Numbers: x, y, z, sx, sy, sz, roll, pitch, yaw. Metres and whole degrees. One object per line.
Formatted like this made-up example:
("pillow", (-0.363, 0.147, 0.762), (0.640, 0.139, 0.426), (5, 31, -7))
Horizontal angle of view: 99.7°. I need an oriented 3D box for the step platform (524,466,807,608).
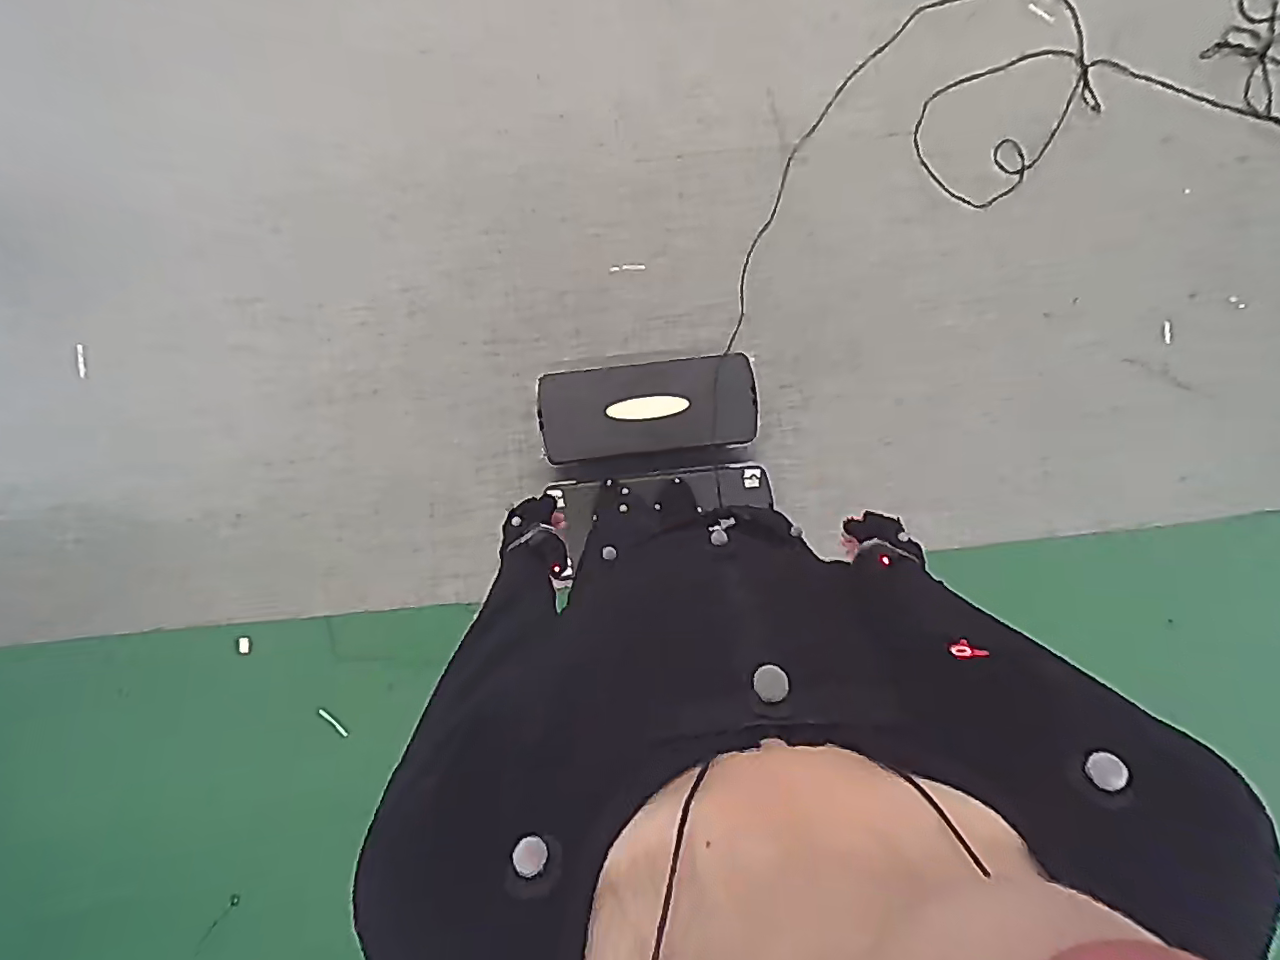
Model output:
("step platform", (0.061, 0.140, 1.395), (0.684, 0.204, 0.286), (-6, 89, -1))
